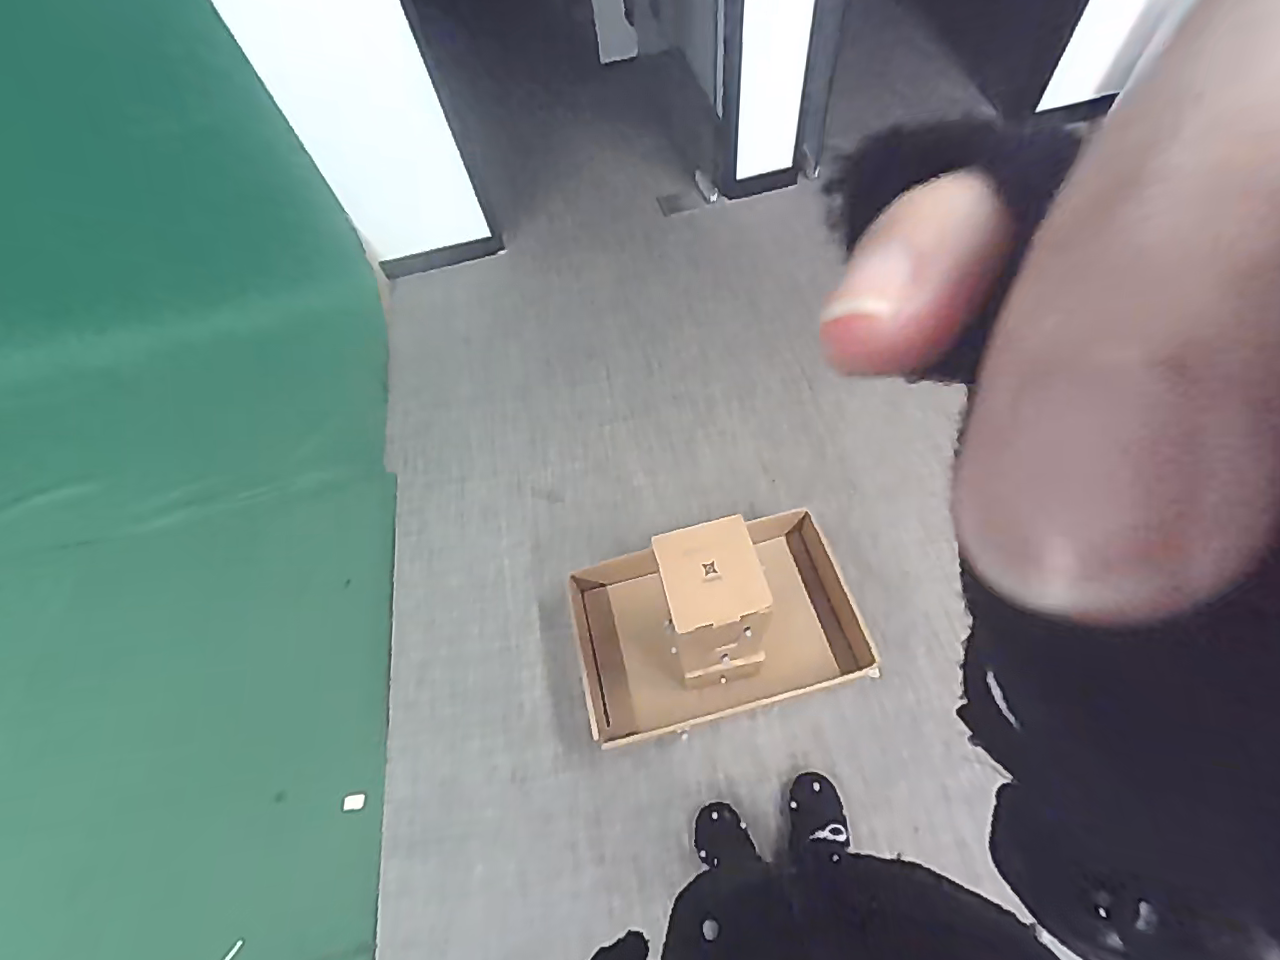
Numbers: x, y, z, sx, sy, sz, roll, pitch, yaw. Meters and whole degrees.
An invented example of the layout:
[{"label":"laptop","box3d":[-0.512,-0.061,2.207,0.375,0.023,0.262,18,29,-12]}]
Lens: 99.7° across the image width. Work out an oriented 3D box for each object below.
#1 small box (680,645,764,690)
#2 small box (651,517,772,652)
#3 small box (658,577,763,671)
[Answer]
[{"label":"small box","box3d":[0.176,0.376,1.255,0.179,0.176,0.168,-13,58,2]},{"label":"small box","box3d":[0.125,0.196,0.969,0.168,0.176,0.179,-14,58,-2]},{"label":"small box","box3d":[0.147,0.284,1.126,0.168,0.176,0.179,-18,59,-1]}]
